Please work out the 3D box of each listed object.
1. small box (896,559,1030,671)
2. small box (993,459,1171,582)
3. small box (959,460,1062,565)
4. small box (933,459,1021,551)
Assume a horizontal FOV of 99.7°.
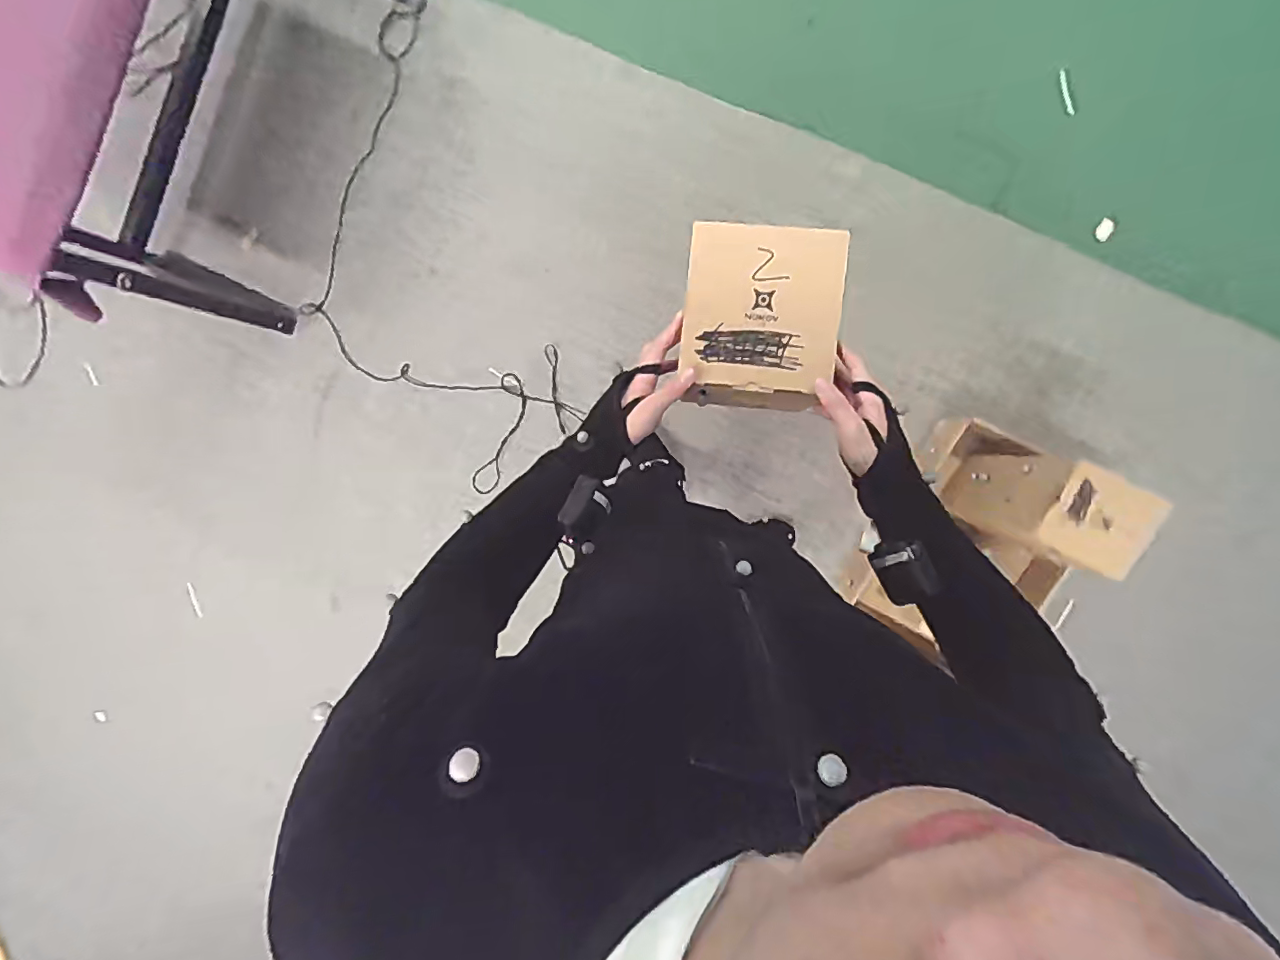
[{"bbox_3d":[0.736,0.302,1.255,0.179,0.176,0.168,31,97,6],"label":"small box"},{"bbox_3d":[0.844,0.071,1.057,0.179,0.176,0.168,29,97,5],"label":"small box"},{"bbox_3d":[0.871,0.062,1.219,0.179,0.176,0.168,31,98,6],"label":"small box"},{"bbox_3d":[0.897,0.053,1.379,0.179,0.176,0.168,31,97,5],"label":"small box"}]
